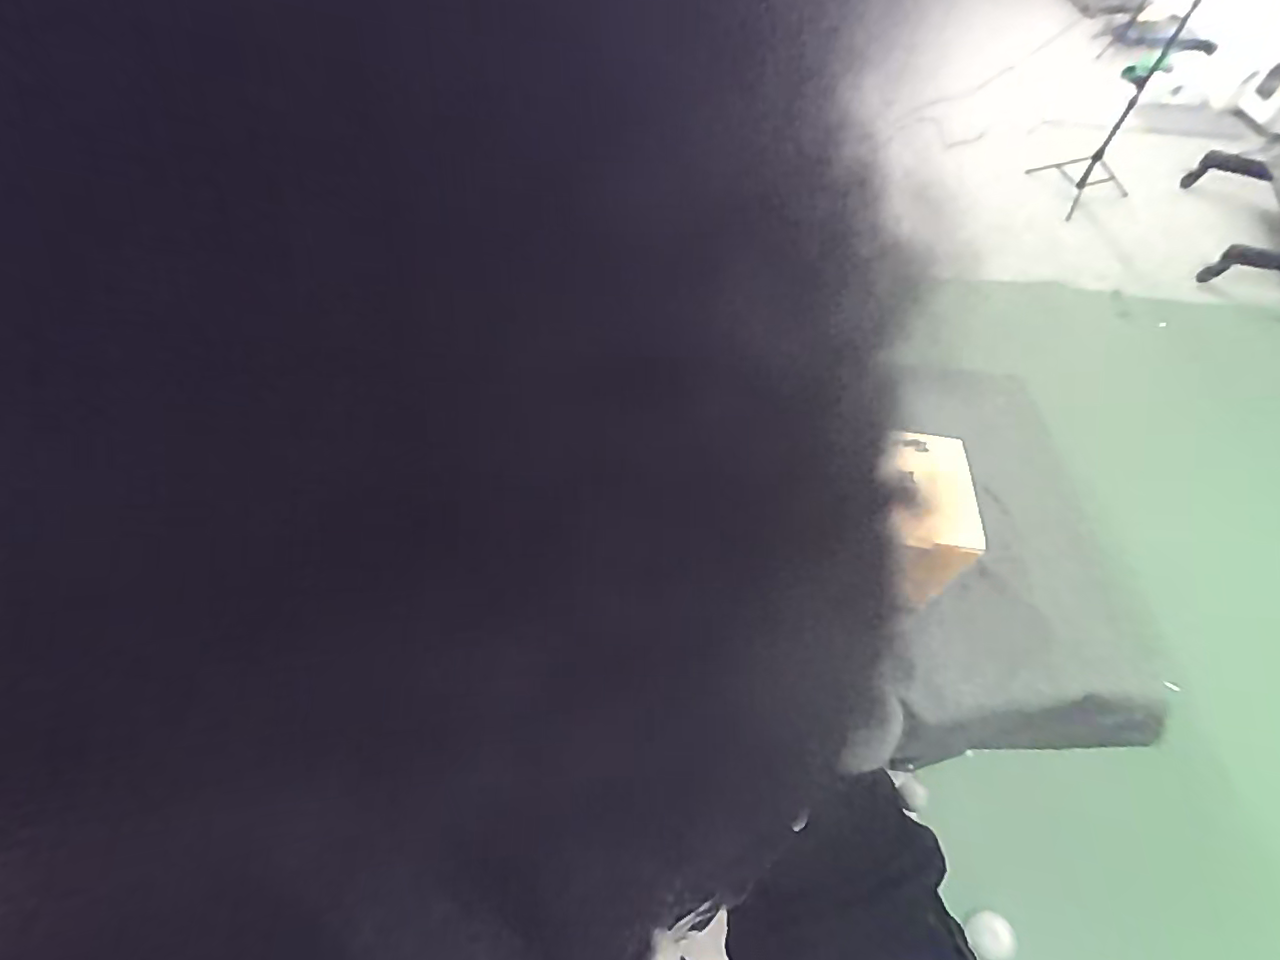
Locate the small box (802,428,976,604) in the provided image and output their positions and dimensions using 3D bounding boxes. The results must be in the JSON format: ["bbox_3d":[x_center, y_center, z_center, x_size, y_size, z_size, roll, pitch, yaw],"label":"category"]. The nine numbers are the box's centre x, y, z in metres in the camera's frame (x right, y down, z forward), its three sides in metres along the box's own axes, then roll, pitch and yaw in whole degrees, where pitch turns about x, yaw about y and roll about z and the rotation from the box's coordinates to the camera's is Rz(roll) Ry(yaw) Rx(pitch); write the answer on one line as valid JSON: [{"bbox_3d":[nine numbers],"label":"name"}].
[{"bbox_3d":[0.331,0.055,0.756,0.168,0.176,0.179,9,55,5],"label":"small box"}]
